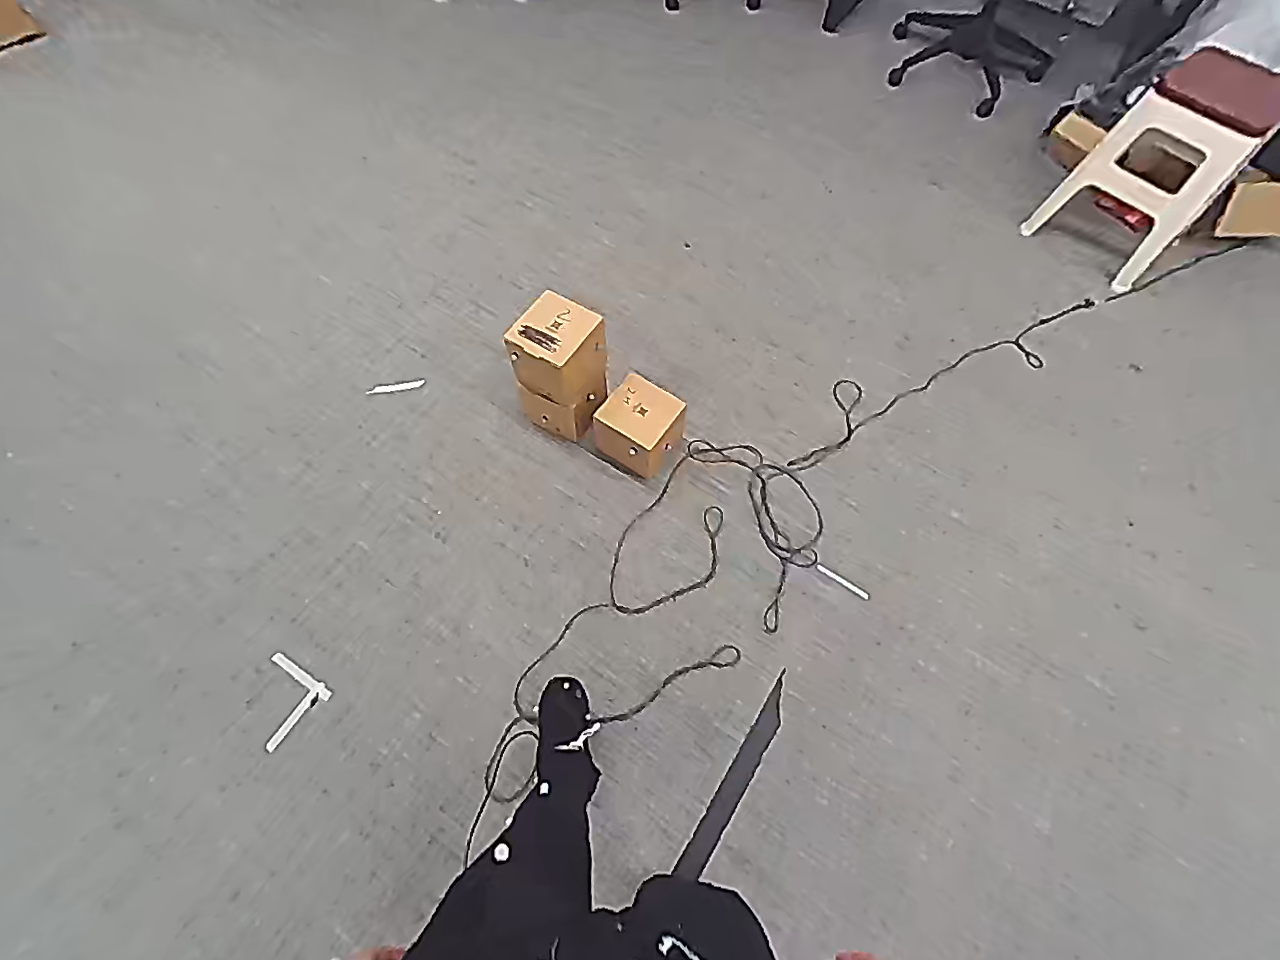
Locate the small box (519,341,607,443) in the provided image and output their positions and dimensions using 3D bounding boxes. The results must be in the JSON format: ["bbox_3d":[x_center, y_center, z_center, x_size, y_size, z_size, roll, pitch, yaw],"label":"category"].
[{"bbox_3d":[-0.198,-0.234,1.457,0.168,0.176,0.179,25,67,12],"label":"small box"}]

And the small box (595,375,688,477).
[{"bbox_3d":[0.005,-0.132,1.403,0.179,0.176,0.168,32,68,15],"label":"small box"}]
